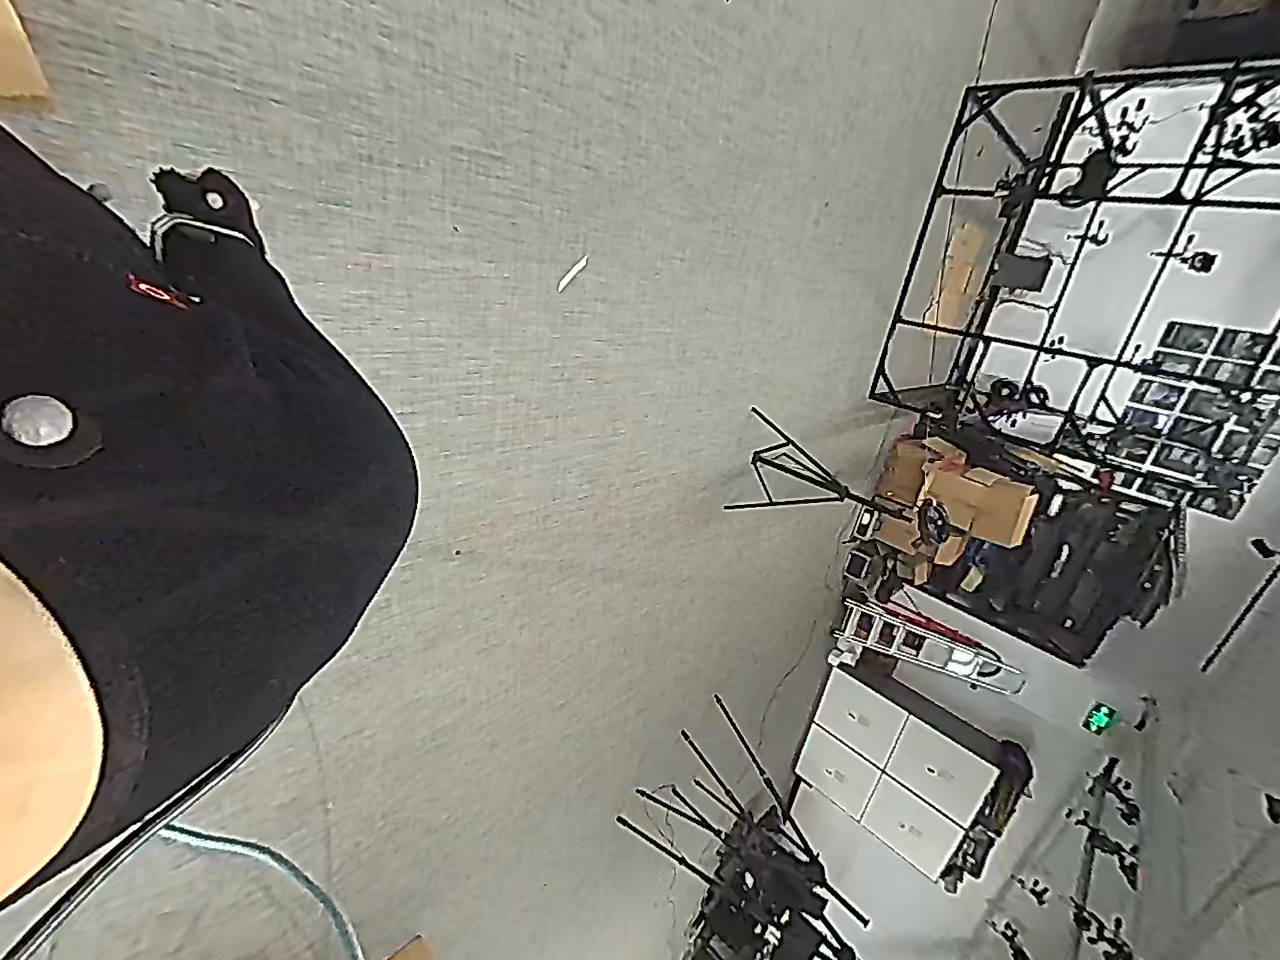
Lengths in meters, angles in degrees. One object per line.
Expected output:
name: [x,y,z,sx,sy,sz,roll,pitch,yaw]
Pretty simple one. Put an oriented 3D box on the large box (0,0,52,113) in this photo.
large box: [-1.050,-0.630,0.634,0.408,0.320,0.320,-28,130,-37]
